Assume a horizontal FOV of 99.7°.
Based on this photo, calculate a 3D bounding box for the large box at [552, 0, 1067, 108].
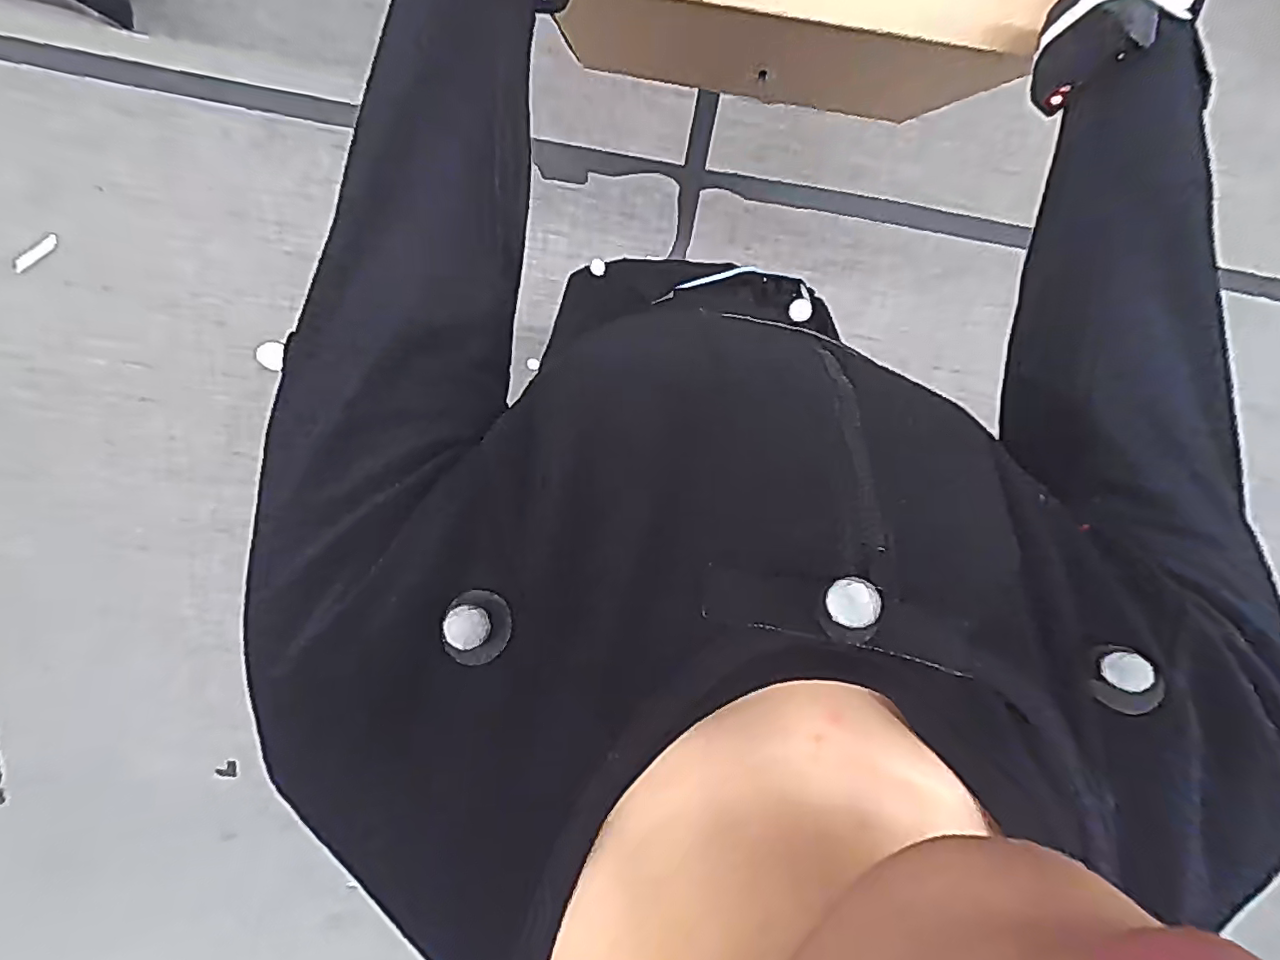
[{"bbox_3d":[0.143,-0.552,0.468,0.408,0.320,0.320,9,116,-1],"label":"large box"}]
